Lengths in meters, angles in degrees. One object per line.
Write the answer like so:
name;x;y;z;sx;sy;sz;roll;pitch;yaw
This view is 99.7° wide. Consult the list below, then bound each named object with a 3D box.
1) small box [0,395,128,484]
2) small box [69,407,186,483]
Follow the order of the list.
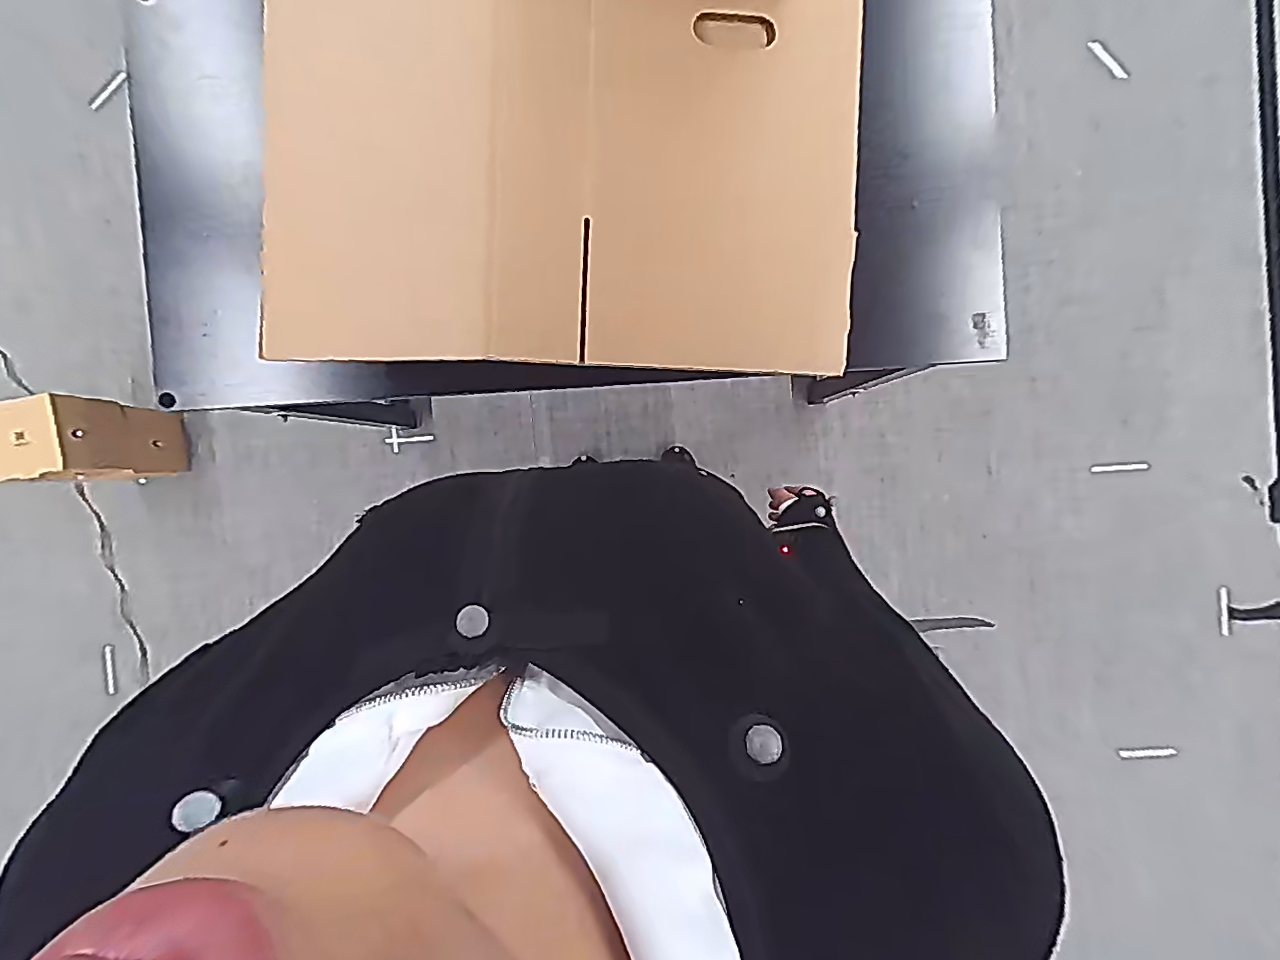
small box;-1.359;-0.091;1.263;0.168;0.176;0.179;-11;90;0
small box;-1.355;-0.089;1.426;0.168;0.176;0.179;-7;92;1
